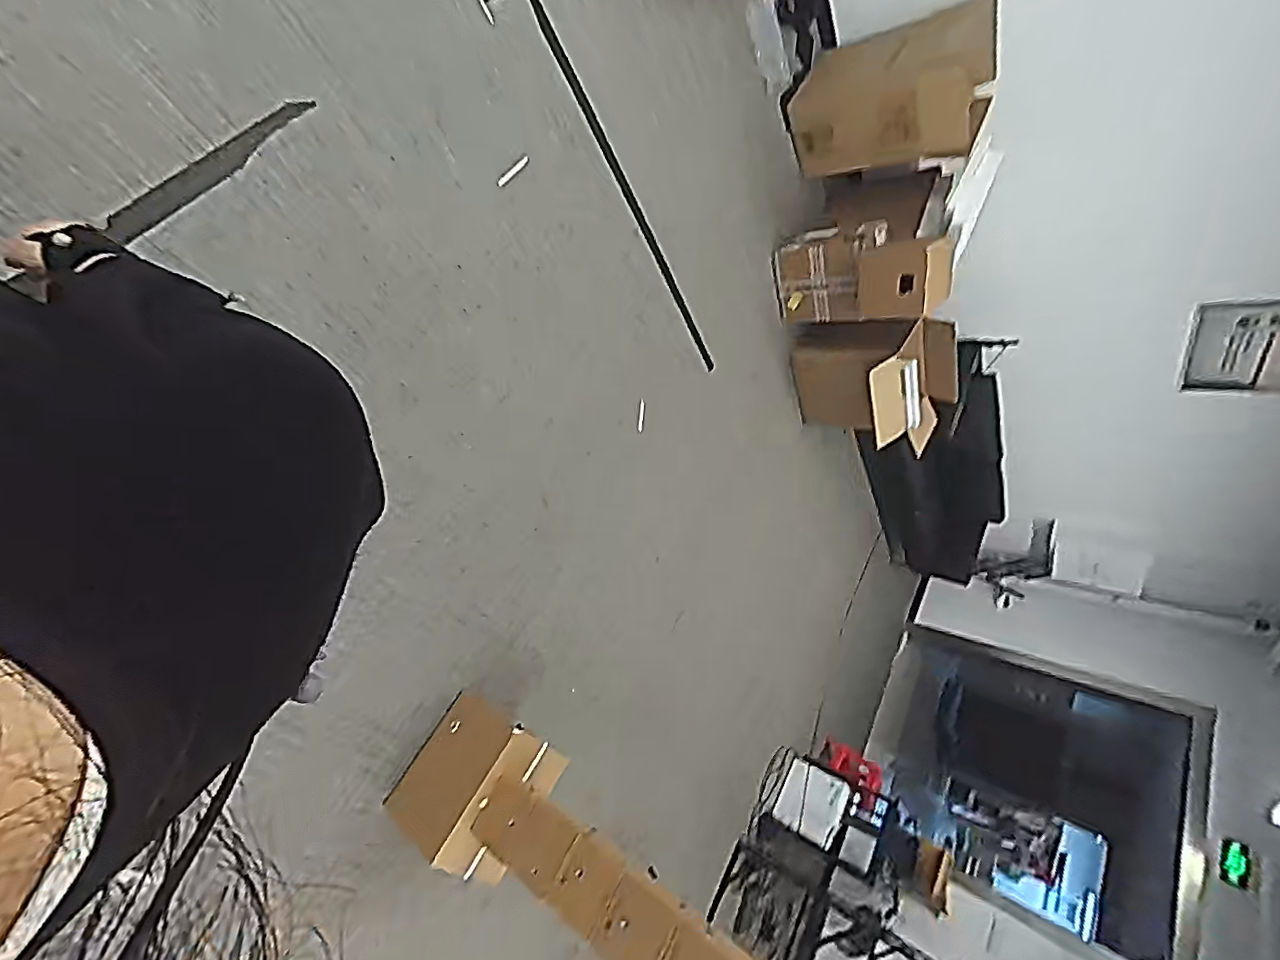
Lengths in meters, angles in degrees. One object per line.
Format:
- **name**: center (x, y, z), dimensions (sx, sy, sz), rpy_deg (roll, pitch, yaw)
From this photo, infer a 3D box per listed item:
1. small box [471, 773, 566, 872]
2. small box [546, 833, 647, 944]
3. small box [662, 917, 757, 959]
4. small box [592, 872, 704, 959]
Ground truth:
- **small box**: center (-0.357, 0.997, 1.583), dimensions (0.179, 0.176, 0.168), rpy_deg (-58, 134, -22)
- **small box**: center (-0.104, 1.043, 1.382), dimensions (0.168, 0.176, 0.179), rpy_deg (-58, 134, -23)
- **small box**: center (0.145, 1.093, 1.174), dimensions (0.179, 0.176, 0.168), rpy_deg (51, 61, -40)
- **small box**: center (0.021, 1.067, 1.277), dimensions (0.168, 0.176, 0.179), rpy_deg (-59, 135, -23)
